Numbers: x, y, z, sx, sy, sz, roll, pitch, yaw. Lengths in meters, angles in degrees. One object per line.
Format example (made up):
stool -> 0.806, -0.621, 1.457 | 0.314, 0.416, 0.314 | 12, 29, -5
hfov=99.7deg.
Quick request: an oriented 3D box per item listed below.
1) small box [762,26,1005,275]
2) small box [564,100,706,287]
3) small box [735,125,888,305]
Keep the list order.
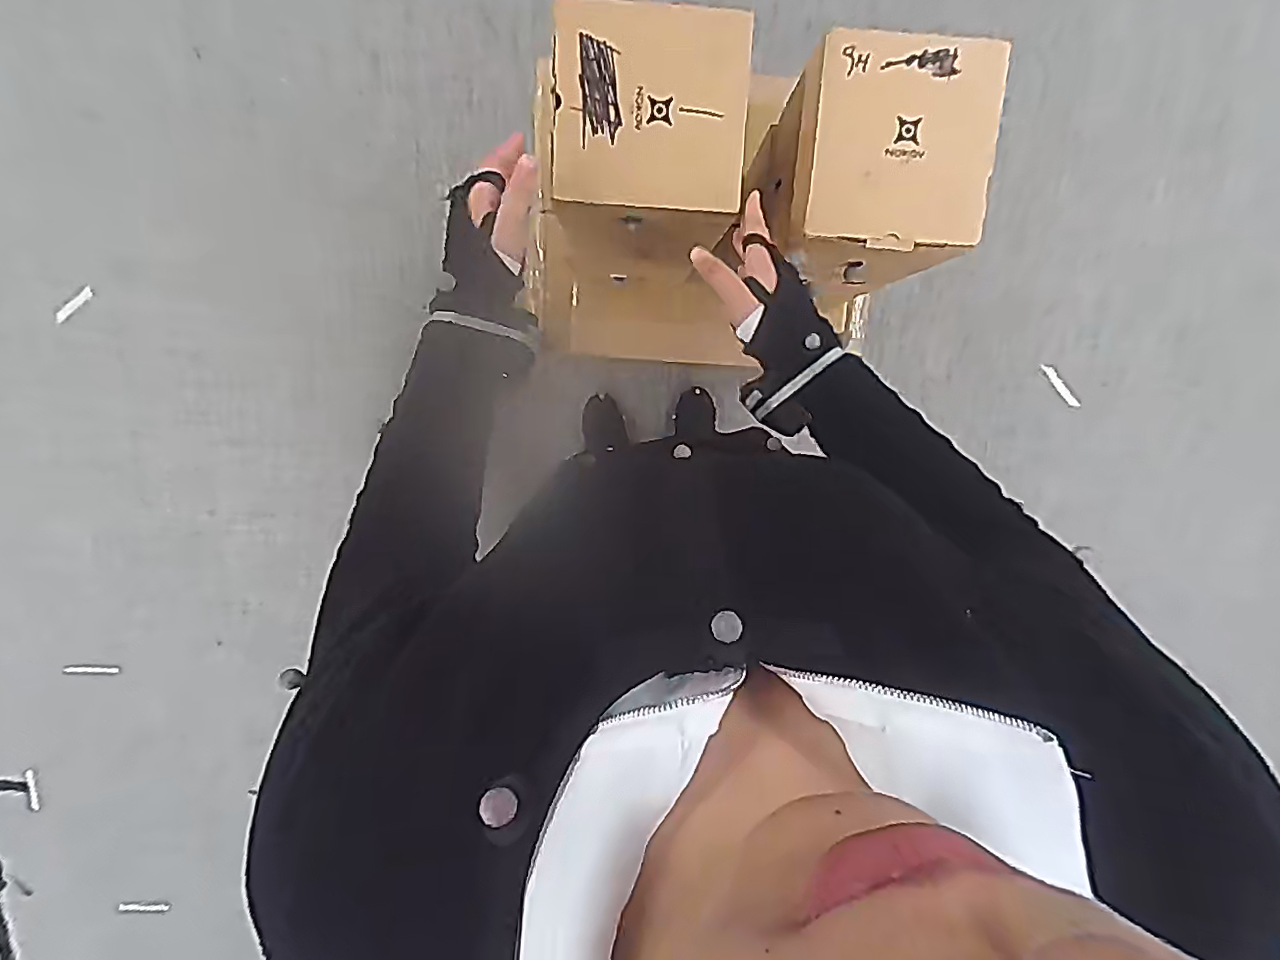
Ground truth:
small box -> 0.233, -0.322, 0.569 | 0.168, 0.176, 0.179 | 4, 101, -2
small box -> -0.010, -0.367, 0.724 | 0.168, 0.176, 0.179 | 2, 101, -2
small box -> 0.228, -0.345, 0.733 | 0.168, 0.176, 0.179 | 2, 100, 0
